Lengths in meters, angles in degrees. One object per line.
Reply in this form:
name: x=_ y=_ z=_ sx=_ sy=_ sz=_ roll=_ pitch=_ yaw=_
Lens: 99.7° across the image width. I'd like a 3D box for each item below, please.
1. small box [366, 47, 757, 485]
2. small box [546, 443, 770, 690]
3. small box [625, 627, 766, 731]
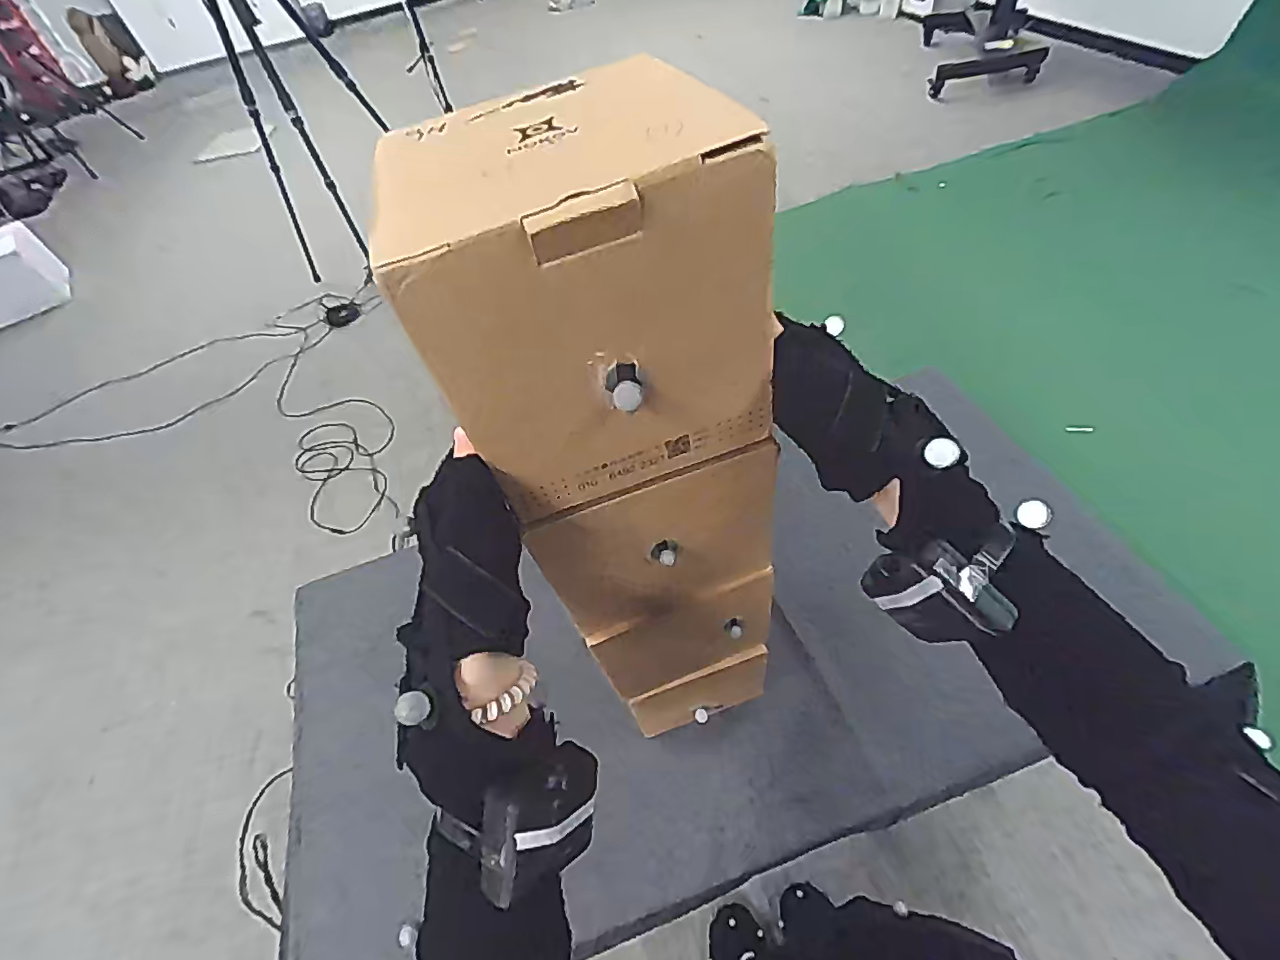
small box: x=-0.036 y=-0.118 z=0.324 sx=0.168 sy=0.176 sz=0.179 roll=-19 pitch=49 yaw=-3
small box: x=0.020 y=0.096 z=0.576 sx=0.179 sy=0.176 sz=0.168 roll=-21 pitch=51 yaw=-5
small box: x=0.048 y=0.196 z=0.702 sx=0.168 sy=0.176 sz=0.179 roll=-19 pitch=52 yaw=-4
